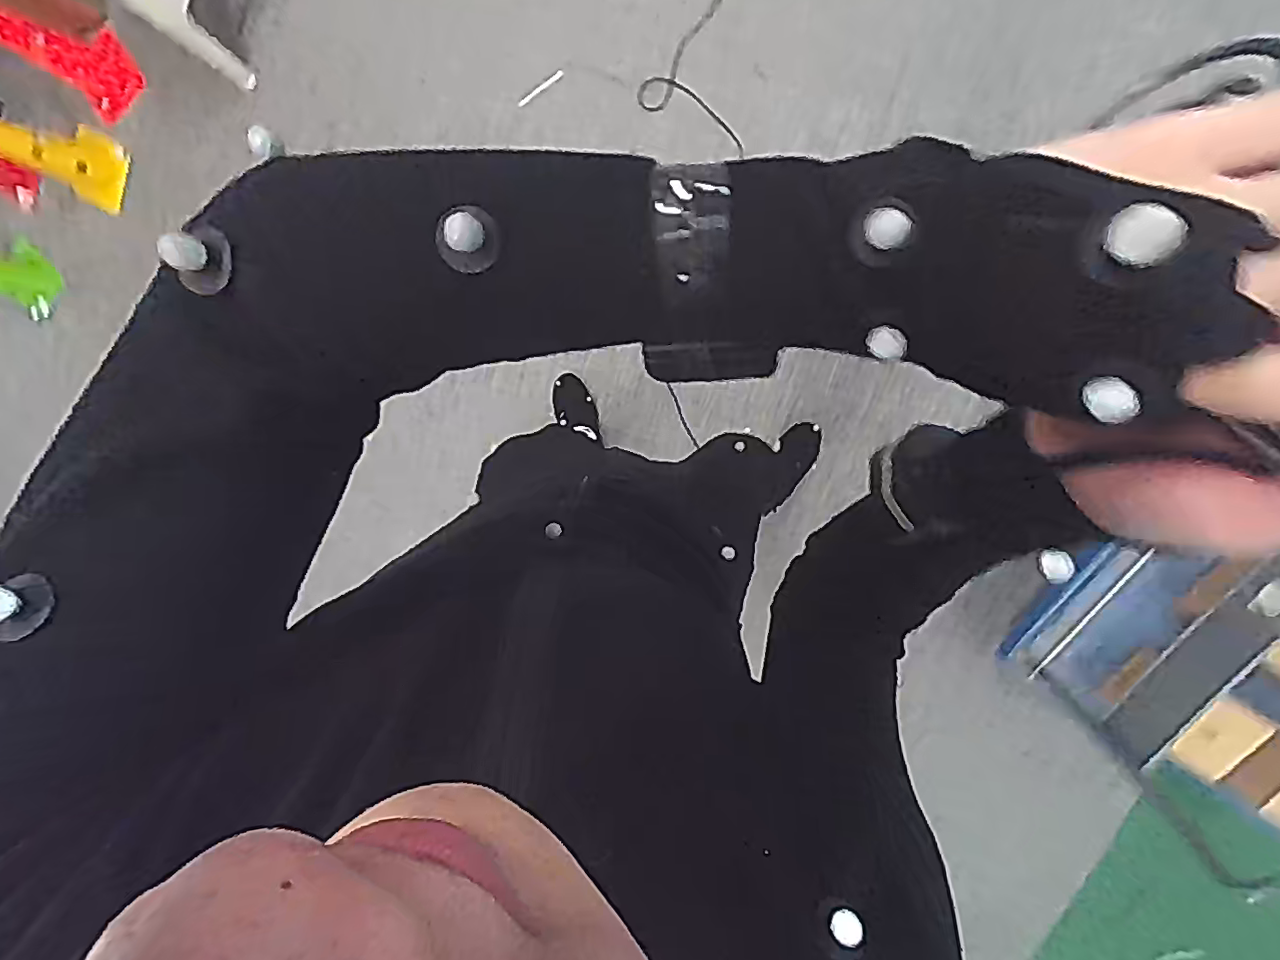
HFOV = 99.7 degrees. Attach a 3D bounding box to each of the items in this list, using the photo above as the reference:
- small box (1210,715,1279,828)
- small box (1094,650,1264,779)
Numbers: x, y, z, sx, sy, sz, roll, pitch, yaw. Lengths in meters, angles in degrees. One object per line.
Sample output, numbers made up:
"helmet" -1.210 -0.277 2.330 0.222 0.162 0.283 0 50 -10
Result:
"small box" 1.440 0.670 1.219 0.179 0.176 0.168 29 104 4
"small box" 1.212 0.525 1.233 0.179 0.176 0.168 34 105 3
